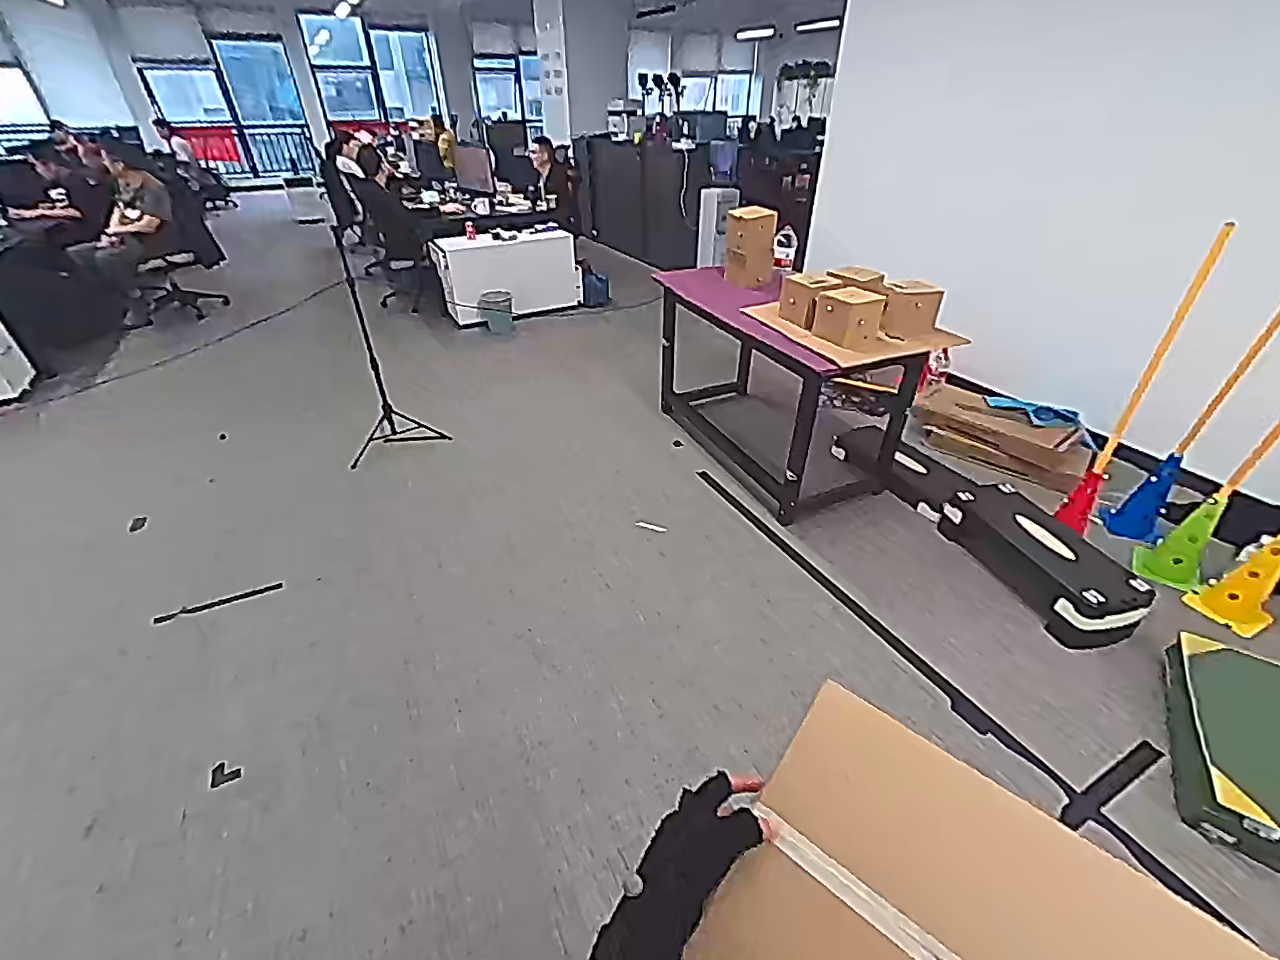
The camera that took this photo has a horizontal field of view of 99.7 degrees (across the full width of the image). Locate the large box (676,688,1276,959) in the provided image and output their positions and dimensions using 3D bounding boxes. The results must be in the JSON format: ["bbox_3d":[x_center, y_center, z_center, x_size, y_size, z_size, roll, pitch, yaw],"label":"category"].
[{"bbox_3d":[0.274,0.495,0.533,0.408,0.320,0.320,28,57,27],"label":"large box"}]
